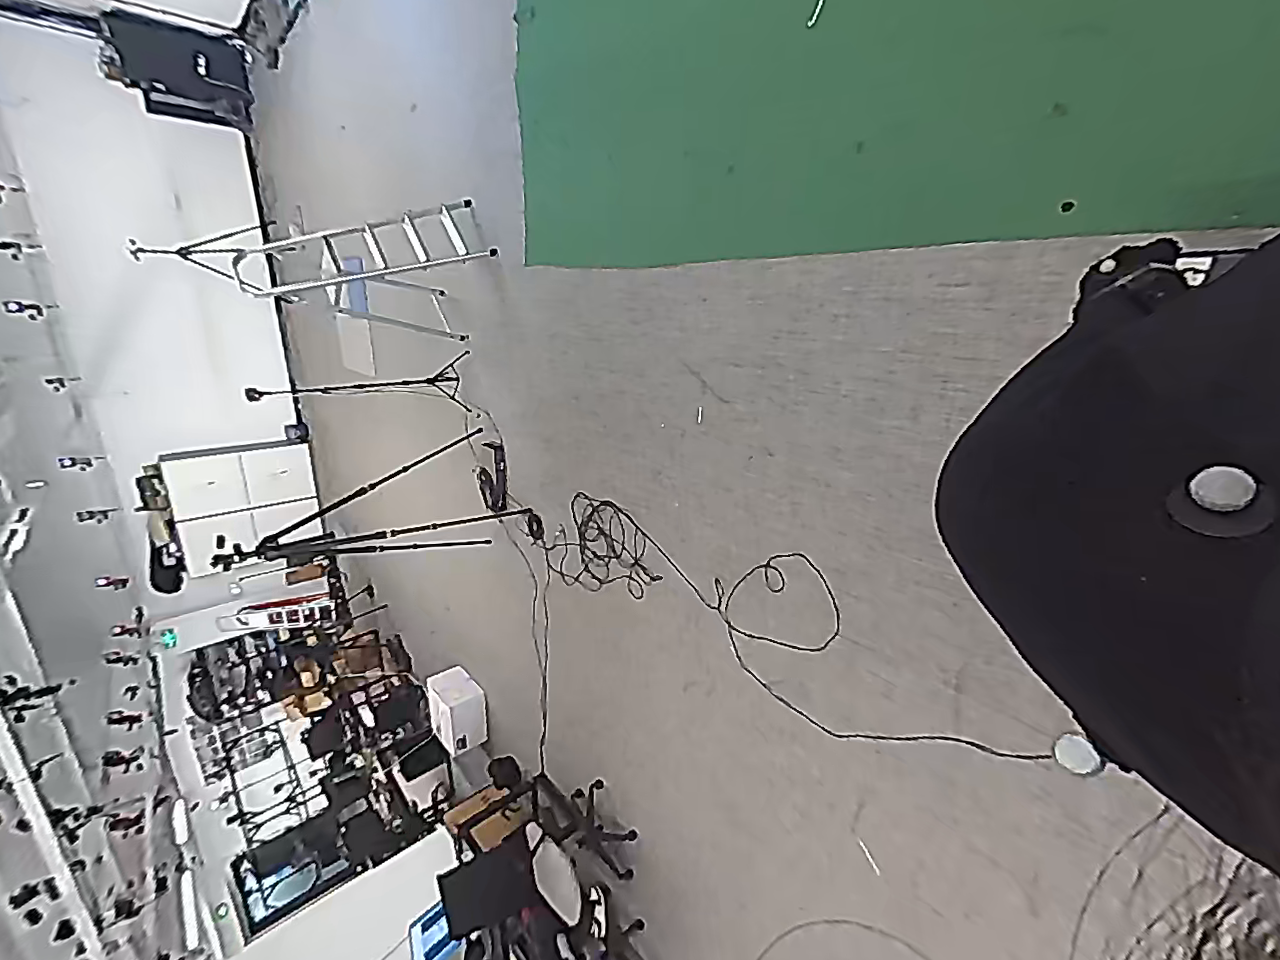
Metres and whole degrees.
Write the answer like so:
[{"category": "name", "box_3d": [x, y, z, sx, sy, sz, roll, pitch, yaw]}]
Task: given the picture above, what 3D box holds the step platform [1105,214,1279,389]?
[{"category": "step platform", "box_3d": [1.153, -0.258, 0.796, 0.684, 0.204, 0.286, 19, 116, 46]}]
